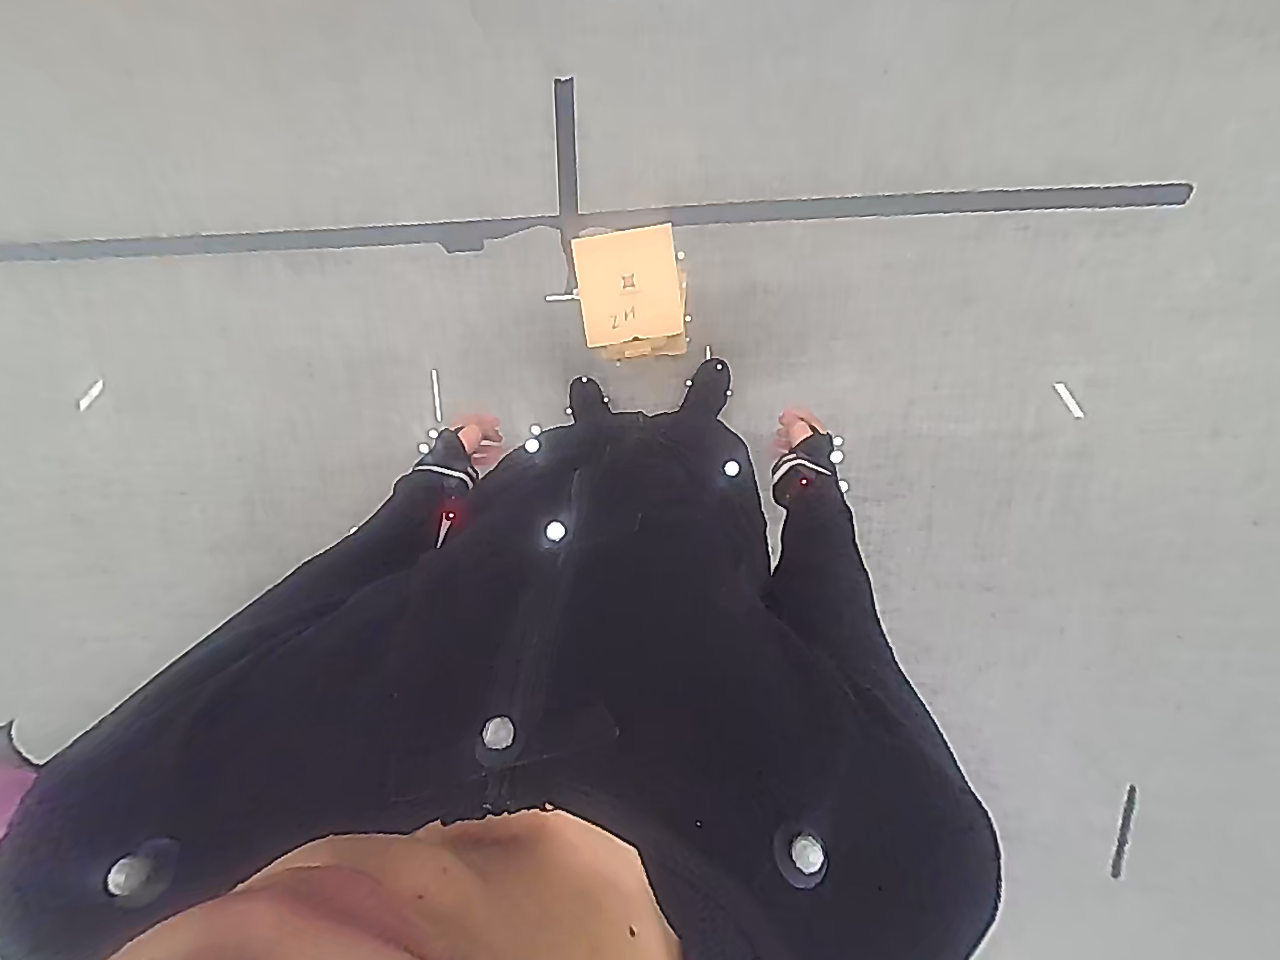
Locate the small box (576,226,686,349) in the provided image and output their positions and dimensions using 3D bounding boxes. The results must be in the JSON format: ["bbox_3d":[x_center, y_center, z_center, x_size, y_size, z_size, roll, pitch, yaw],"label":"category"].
[{"bbox_3d":[-0.010,-0.332,0.965,0.168,0.176,0.179,-7,104,5],"label":"small box"}]

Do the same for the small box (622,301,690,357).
[{"bbox_3d":[0.043,-0.420,1.447,0.179,0.176,0.168,-1,104,4],"label":"small box"}]

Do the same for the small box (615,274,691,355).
[{"bbox_3d":[0.029,-0.392,1.287,0.168,0.176,0.179,3,105,2],"label":"small box"}]
